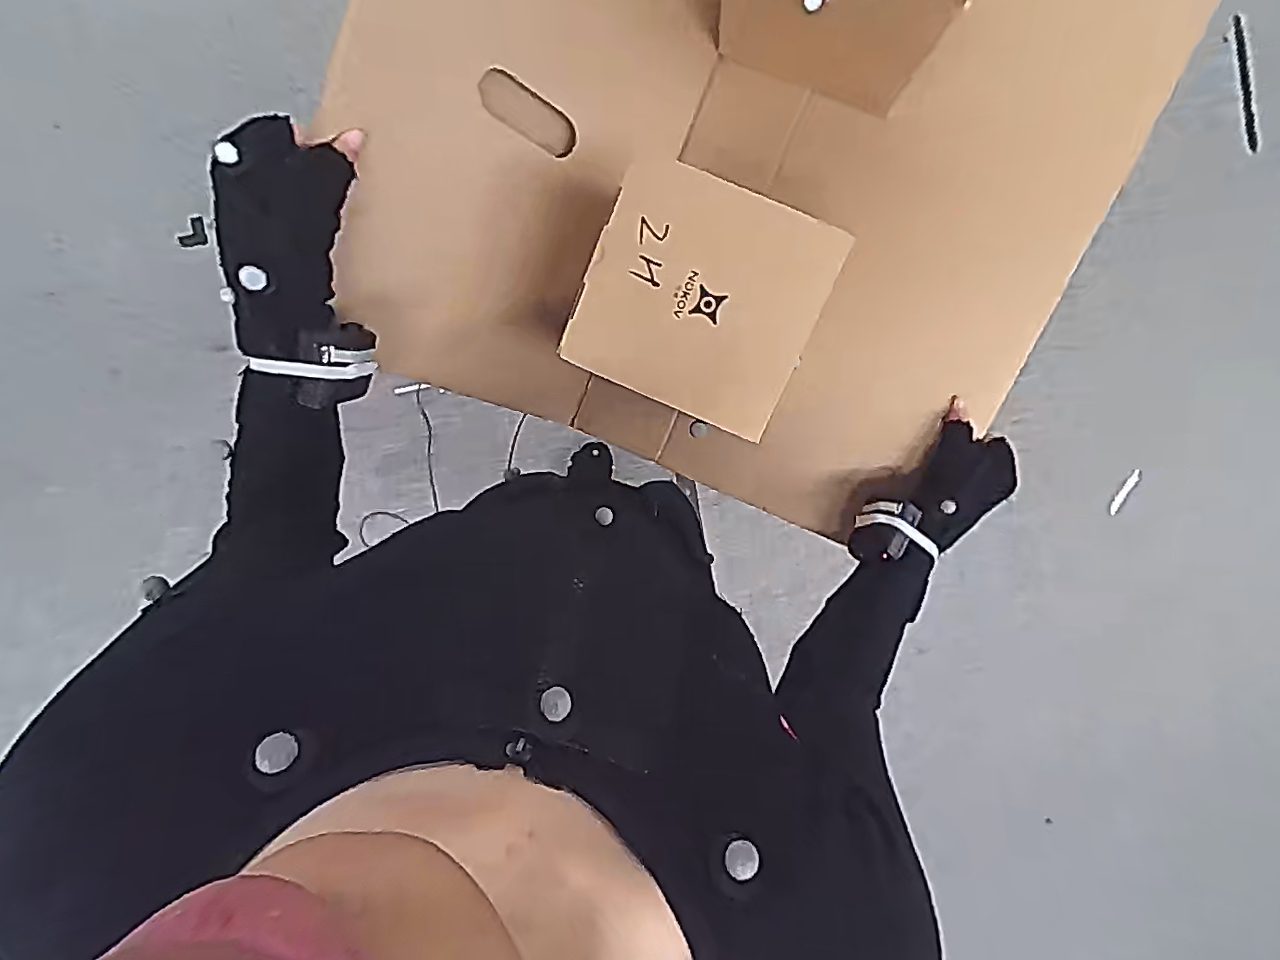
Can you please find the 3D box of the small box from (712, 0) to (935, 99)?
[{"bbox_3d":[0.164,-0.448,0.428,0.179,0.176,0.168,22,102,1],"label":"small box"}]

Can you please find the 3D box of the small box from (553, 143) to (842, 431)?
[{"bbox_3d":[0.049,-0.160,0.493,0.179,0.176,0.168,24,102,2],"label":"small box"}]
